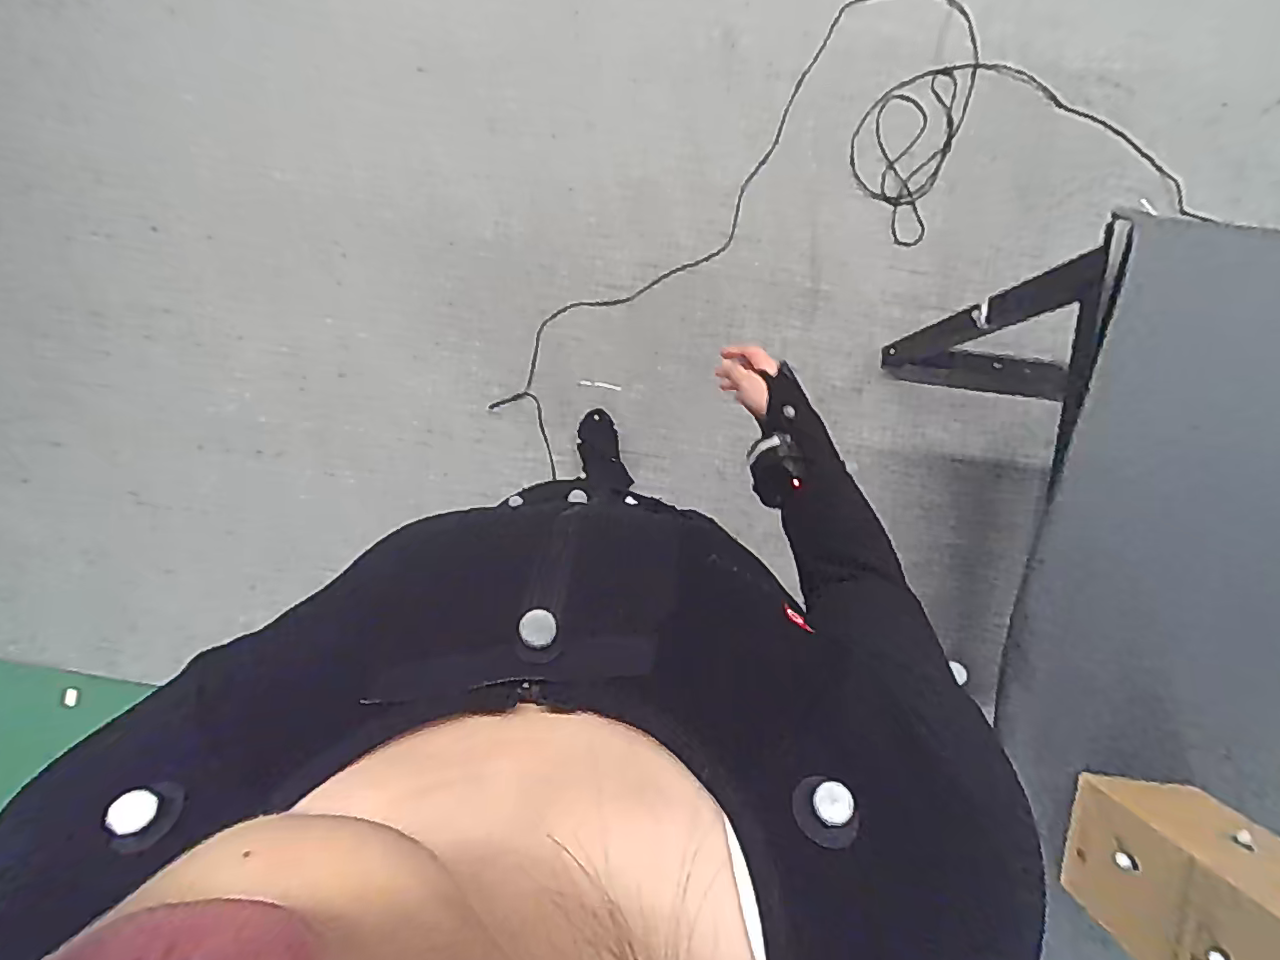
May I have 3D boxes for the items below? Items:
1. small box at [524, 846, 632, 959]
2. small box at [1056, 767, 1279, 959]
[{"bbox_3d":[-0.119,0.900,1.108,0.179,0.176,0.168,-15,92,0],"label":"small box"},{"bbox_3d":[0.685,0.497,0.691,0.179,0.176,0.168,8,93,-2],"label":"small box"}]
